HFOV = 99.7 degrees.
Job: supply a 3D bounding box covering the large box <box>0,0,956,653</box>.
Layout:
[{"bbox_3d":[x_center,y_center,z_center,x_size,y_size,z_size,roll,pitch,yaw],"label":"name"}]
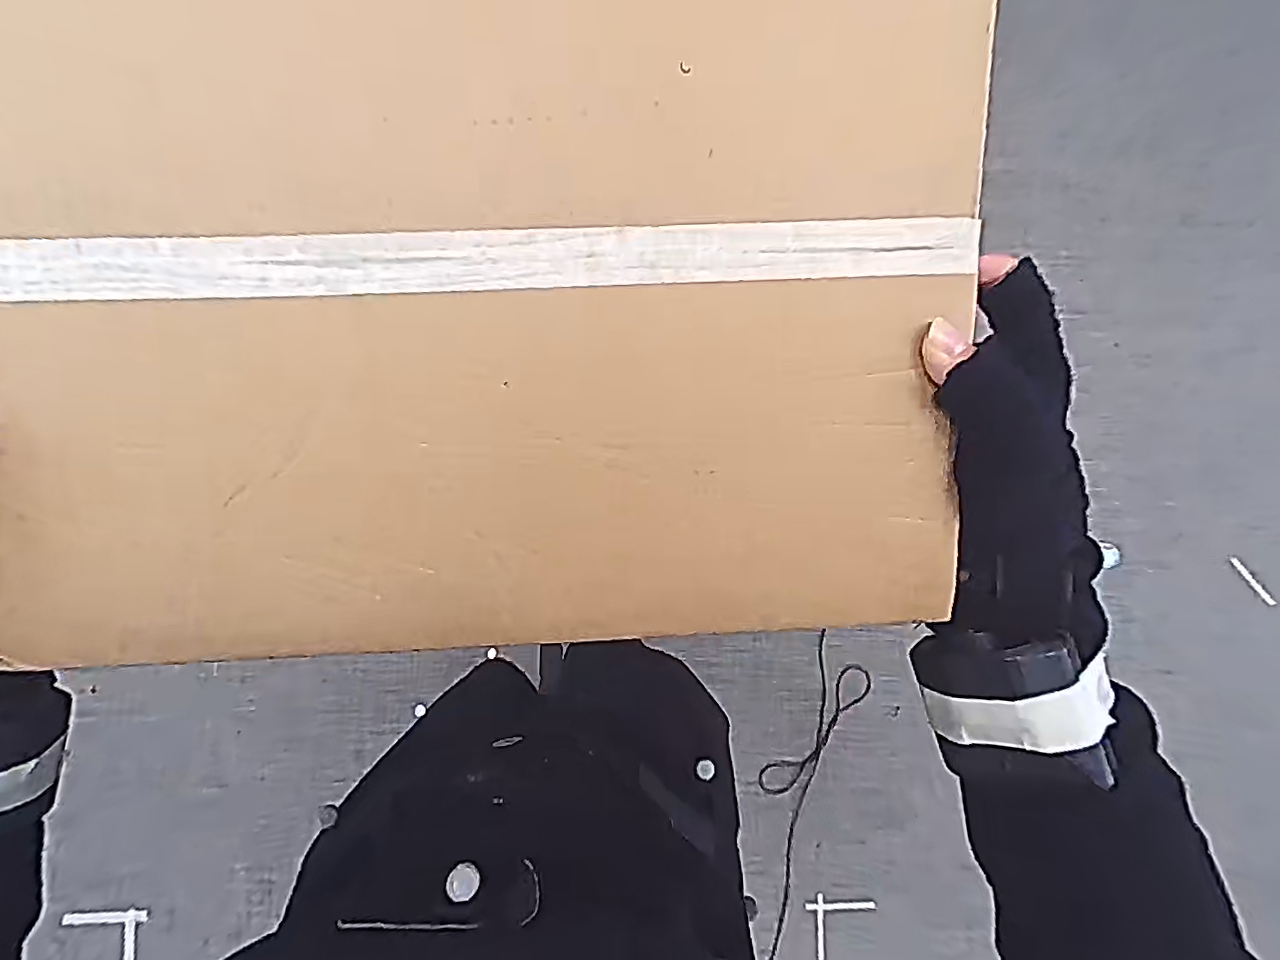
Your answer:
[{"bbox_3d":[-0.080,-0.110,0.363,0.408,0.320,0.320,-2,100,-3],"label":"large box"}]
